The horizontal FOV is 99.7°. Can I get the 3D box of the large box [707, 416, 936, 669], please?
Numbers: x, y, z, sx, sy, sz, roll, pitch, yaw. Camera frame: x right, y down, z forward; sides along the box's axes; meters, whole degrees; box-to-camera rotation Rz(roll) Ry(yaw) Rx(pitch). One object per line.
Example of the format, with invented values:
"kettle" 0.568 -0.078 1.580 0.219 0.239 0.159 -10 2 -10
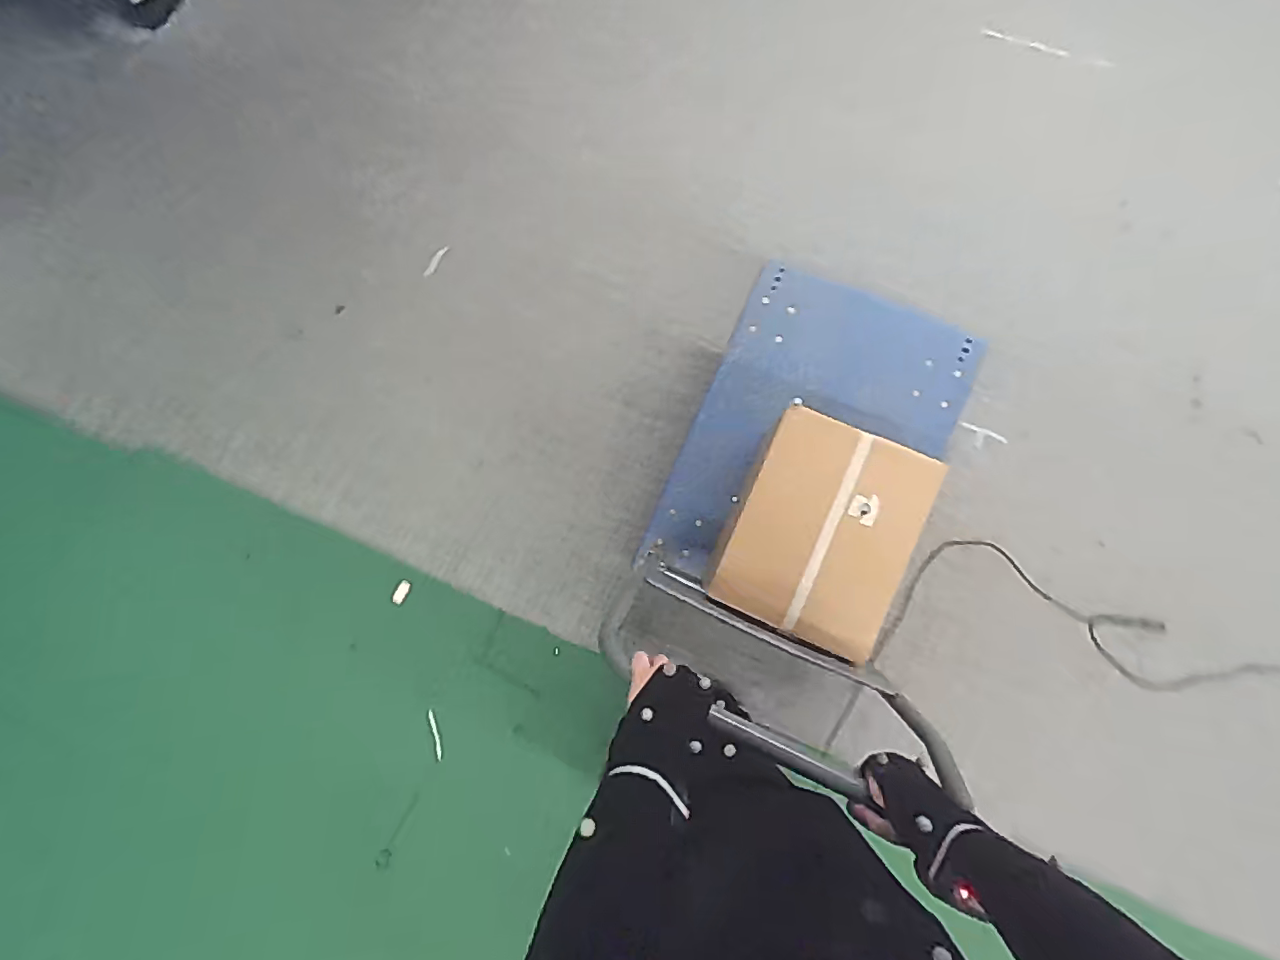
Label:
"large box" 0.359 0.129 1.174 0.320 0.320 0.408 24 87 6
